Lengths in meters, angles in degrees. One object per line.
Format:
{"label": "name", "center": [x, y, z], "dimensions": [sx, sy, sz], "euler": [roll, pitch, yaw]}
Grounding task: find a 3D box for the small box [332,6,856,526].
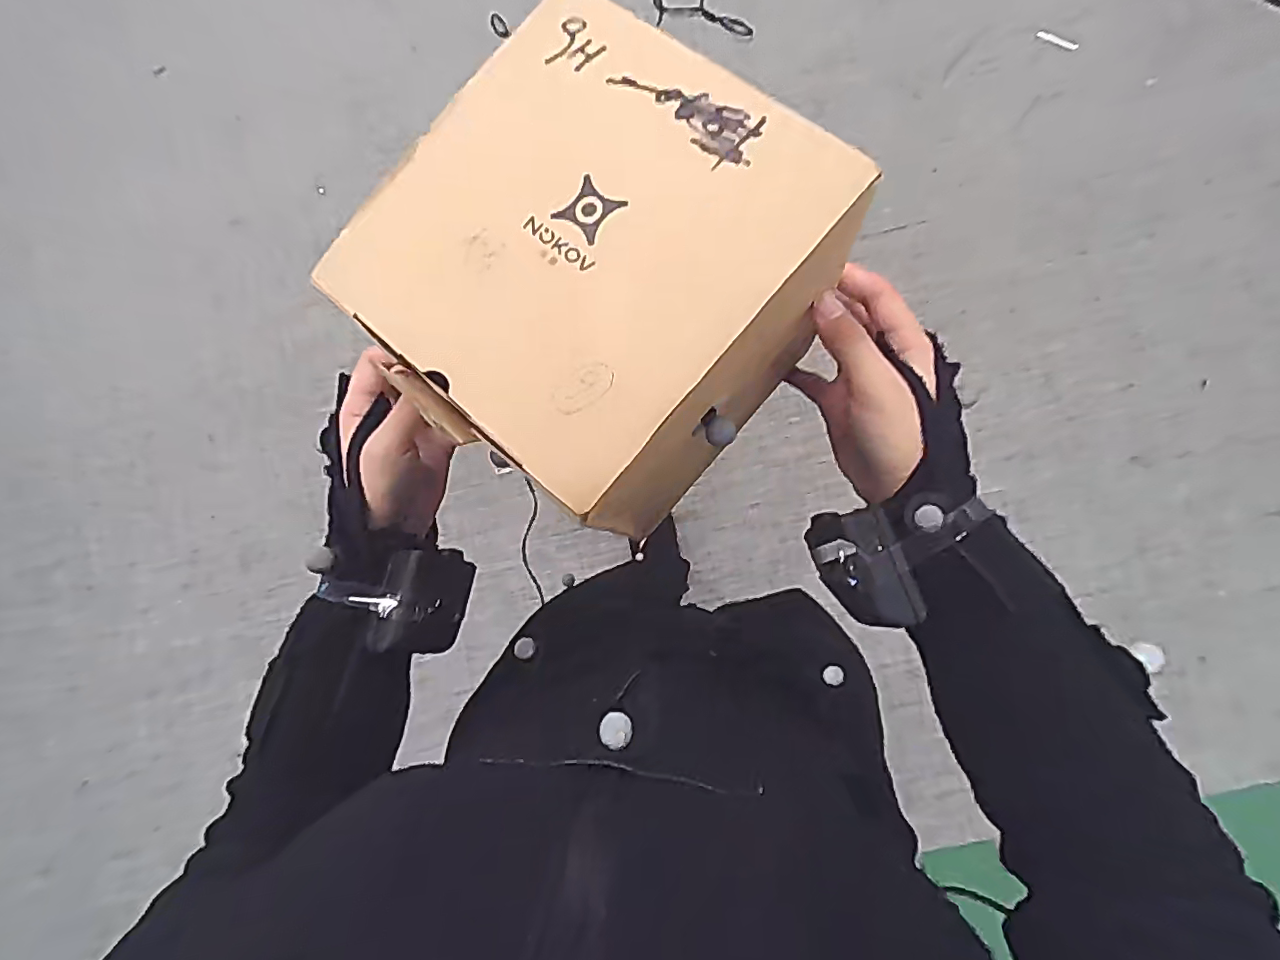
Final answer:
{"label": "small box", "center": [-0.014, -0.088, 0.306], "dimensions": [0.168, 0.176, 0.179], "euler": [41, 90, 12]}
